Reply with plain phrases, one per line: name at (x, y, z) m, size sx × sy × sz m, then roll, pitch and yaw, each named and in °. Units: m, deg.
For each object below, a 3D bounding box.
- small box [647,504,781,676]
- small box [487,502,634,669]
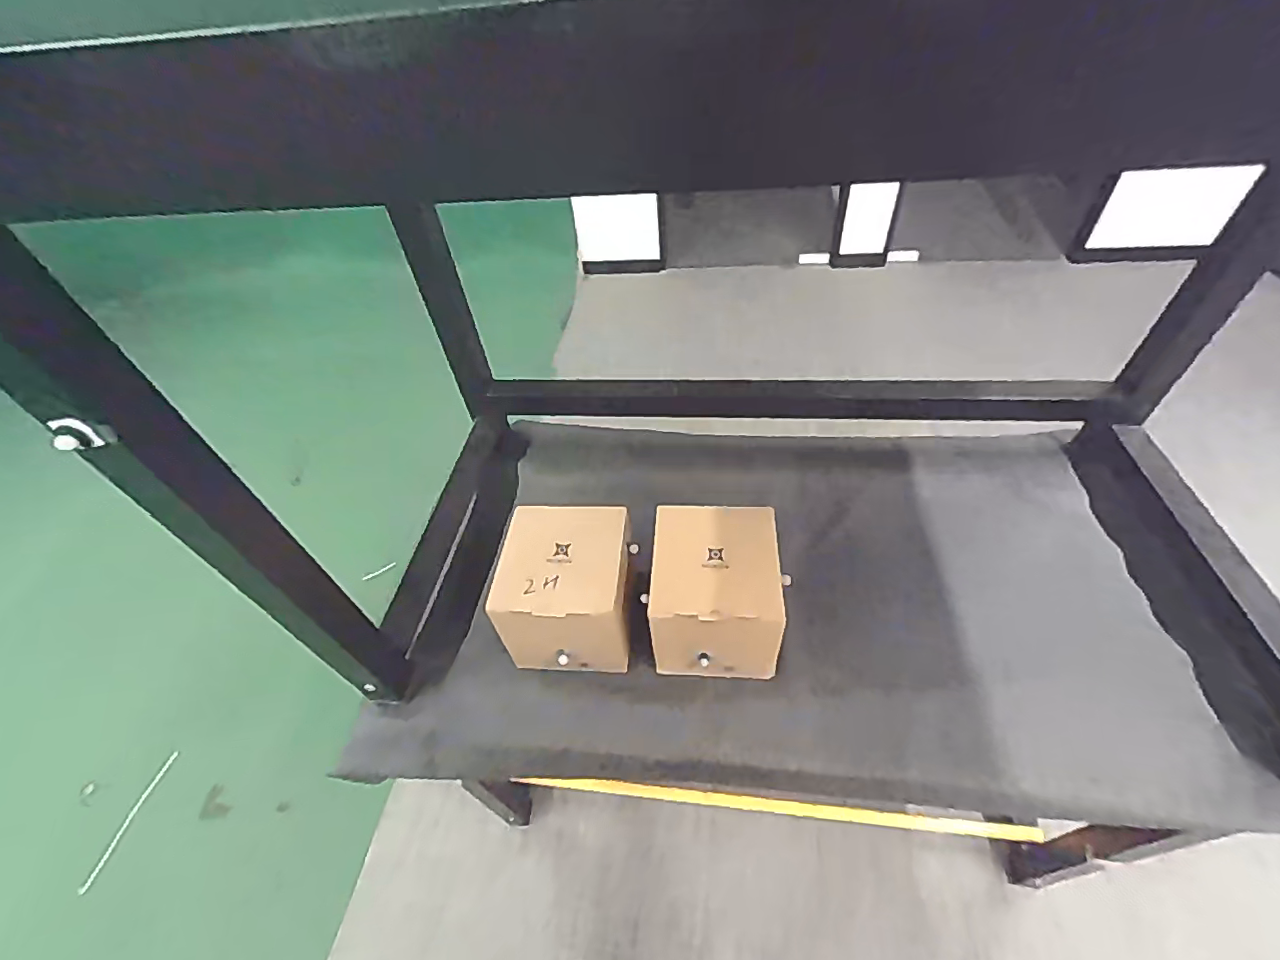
small box at (0.102, 0.154, 0.767) m, size 0.168 × 0.176 × 0.179 m, roll 0°, pitch 47°, yaw 7°
small box at (-0.101, 0.152, 0.786) m, size 0.168 × 0.176 × 0.179 m, roll 0°, pitch 47°, yaw 6°
